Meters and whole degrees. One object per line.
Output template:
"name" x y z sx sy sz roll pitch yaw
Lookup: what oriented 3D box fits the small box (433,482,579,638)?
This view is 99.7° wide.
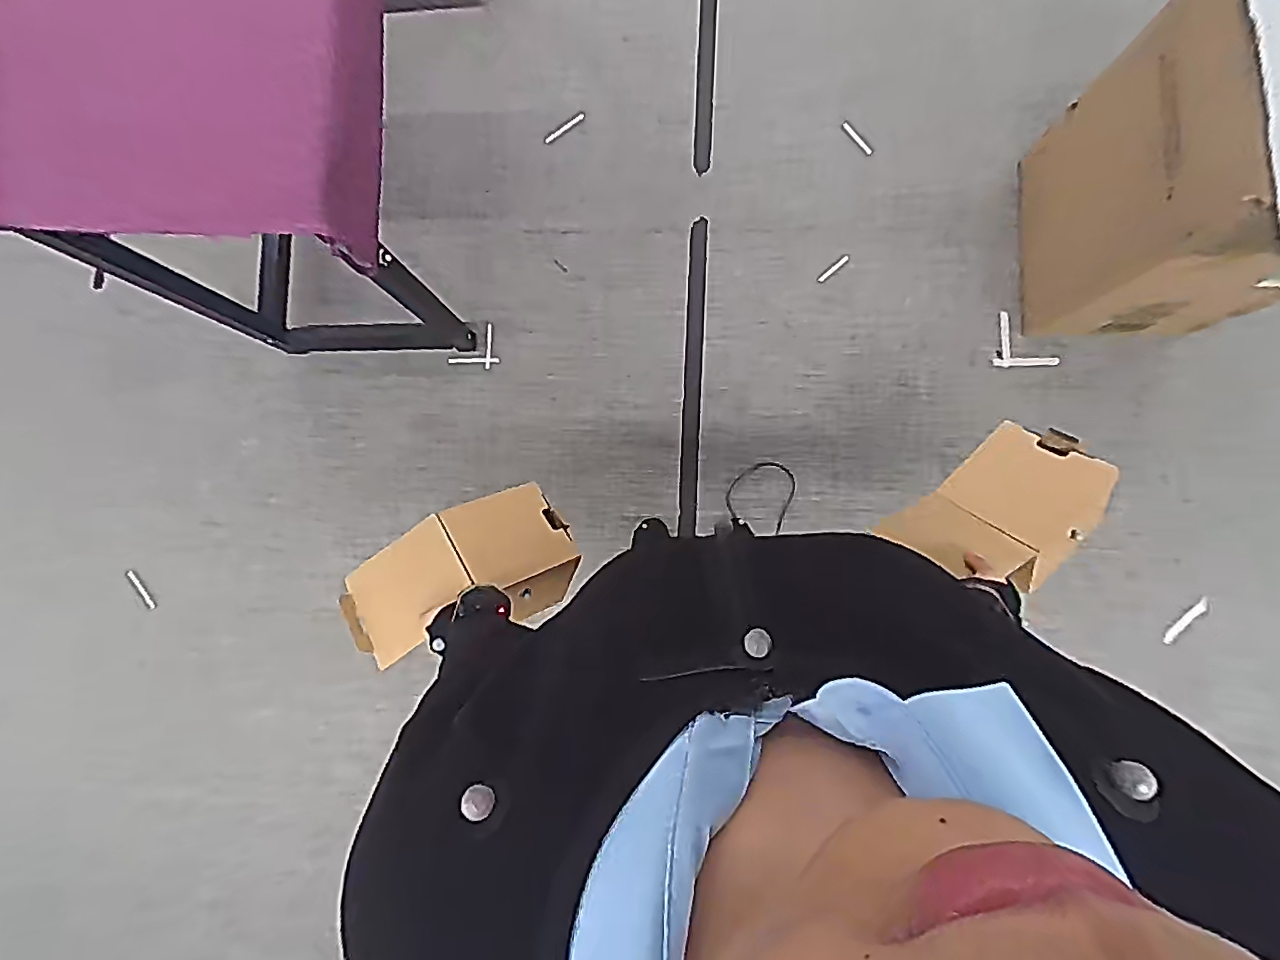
"small box" -0.228 0.134 0.898 0.179 0.176 0.168 -20 63 -34
